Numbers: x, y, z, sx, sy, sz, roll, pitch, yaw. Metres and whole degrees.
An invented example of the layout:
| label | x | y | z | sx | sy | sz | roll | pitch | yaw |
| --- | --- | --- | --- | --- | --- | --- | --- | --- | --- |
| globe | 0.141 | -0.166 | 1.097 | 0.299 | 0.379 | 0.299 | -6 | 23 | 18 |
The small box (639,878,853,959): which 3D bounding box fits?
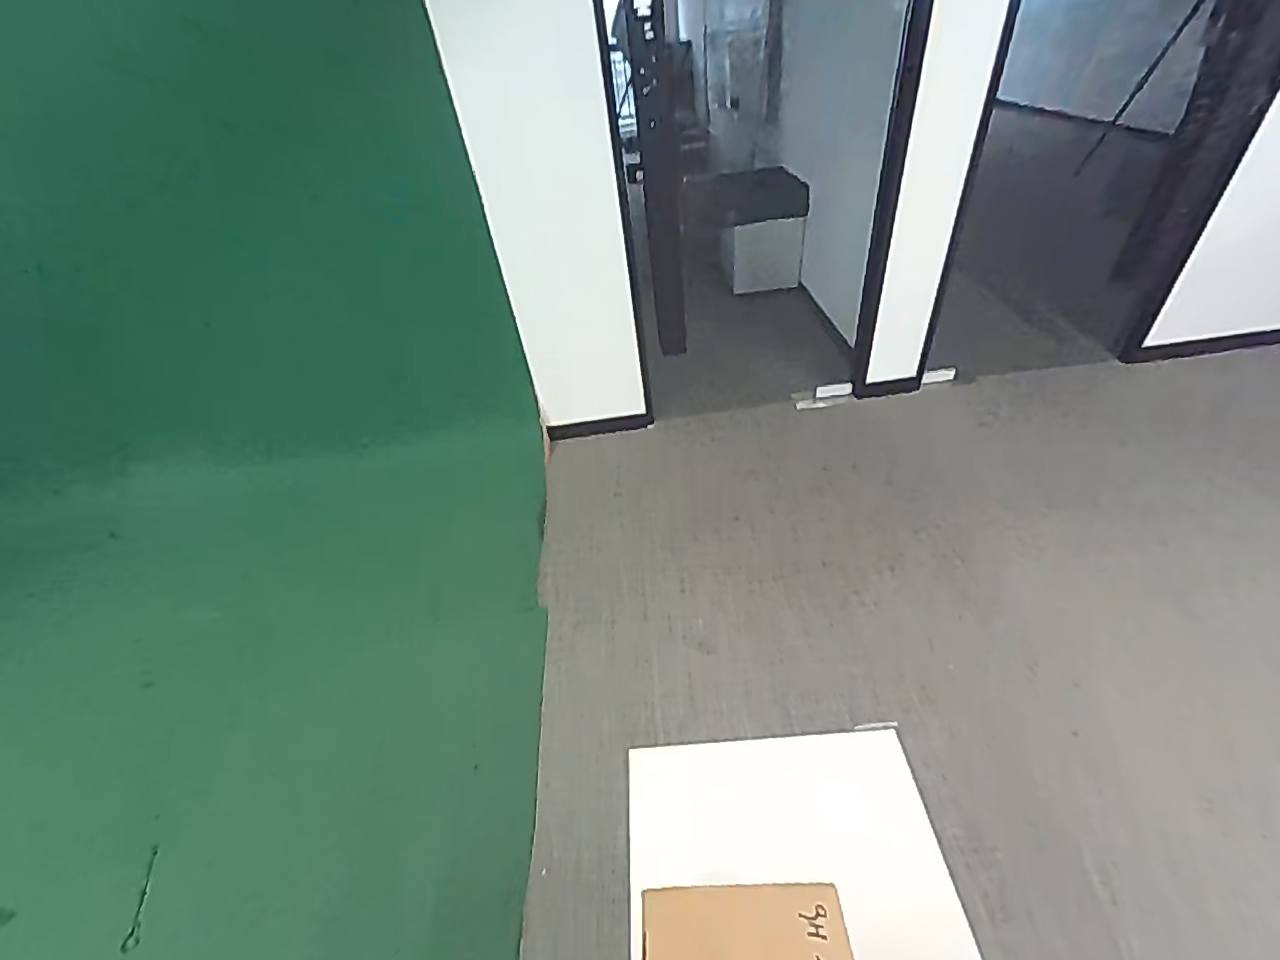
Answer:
| label | x | y | z | sx | sy | sz | roll | pitch | yaw |
| --- | --- | --- | --- | --- | --- | --- | --- | --- | --- |
| small box | 0.092 | 0.473 | 0.471 | 0.179 | 0.176 | 0.168 | -3 | 38 | 2 |
